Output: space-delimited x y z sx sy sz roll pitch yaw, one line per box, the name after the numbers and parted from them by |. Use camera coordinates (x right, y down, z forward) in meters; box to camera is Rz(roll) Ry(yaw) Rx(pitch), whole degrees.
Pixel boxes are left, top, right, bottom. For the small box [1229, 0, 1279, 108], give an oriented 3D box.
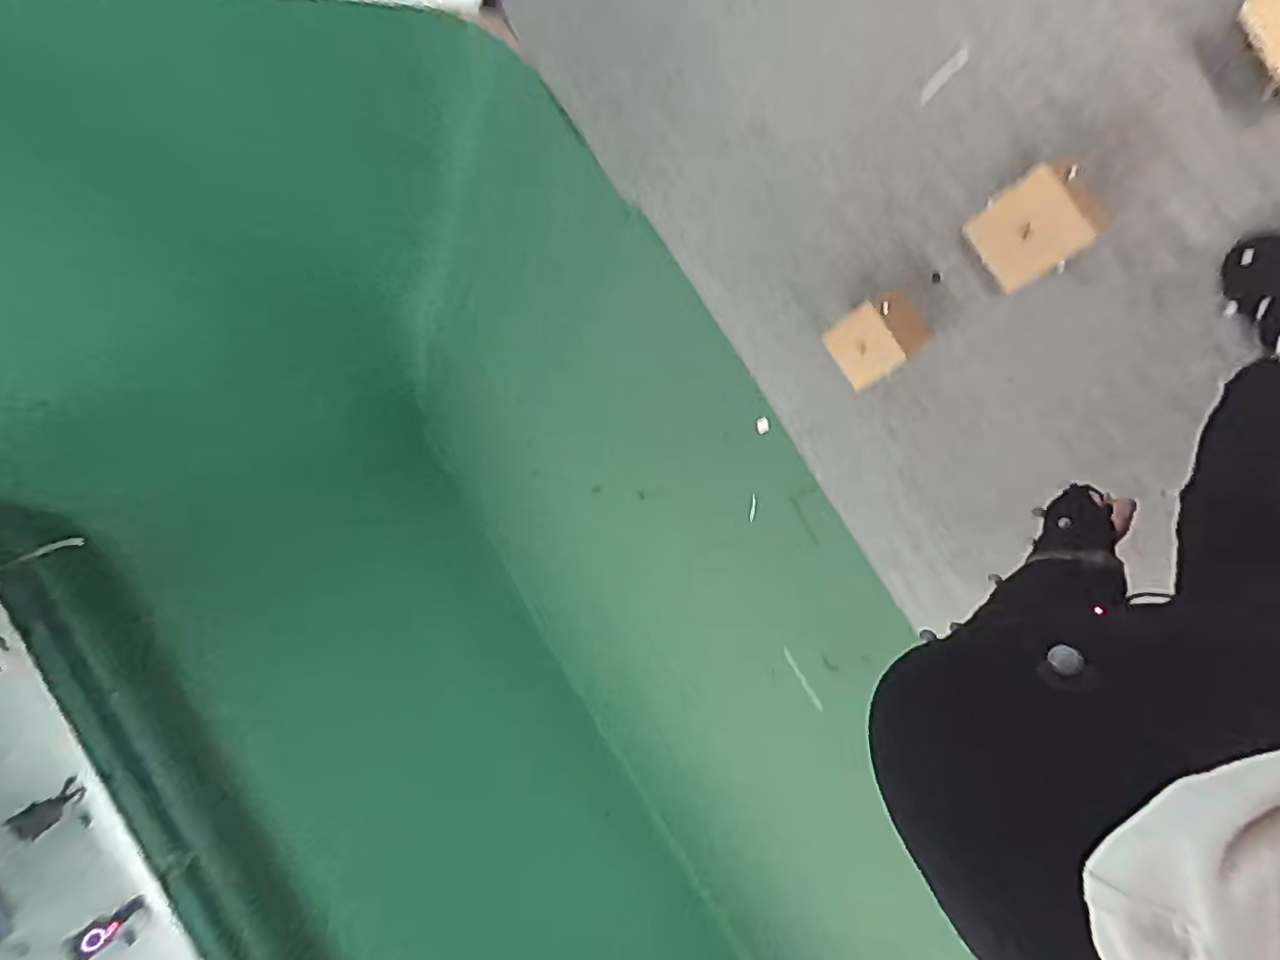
0.991 -0.655 0.763 0.168 0.176 0.179 -30 90 53 | small box

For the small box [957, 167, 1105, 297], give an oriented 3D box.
0.796 -0.506 1.102 0.179 0.176 0.168 57 144 4 | small box

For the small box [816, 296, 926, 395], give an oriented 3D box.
0.610 -0.357 1.423 0.179 0.176 0.168 58 144 5 | small box
